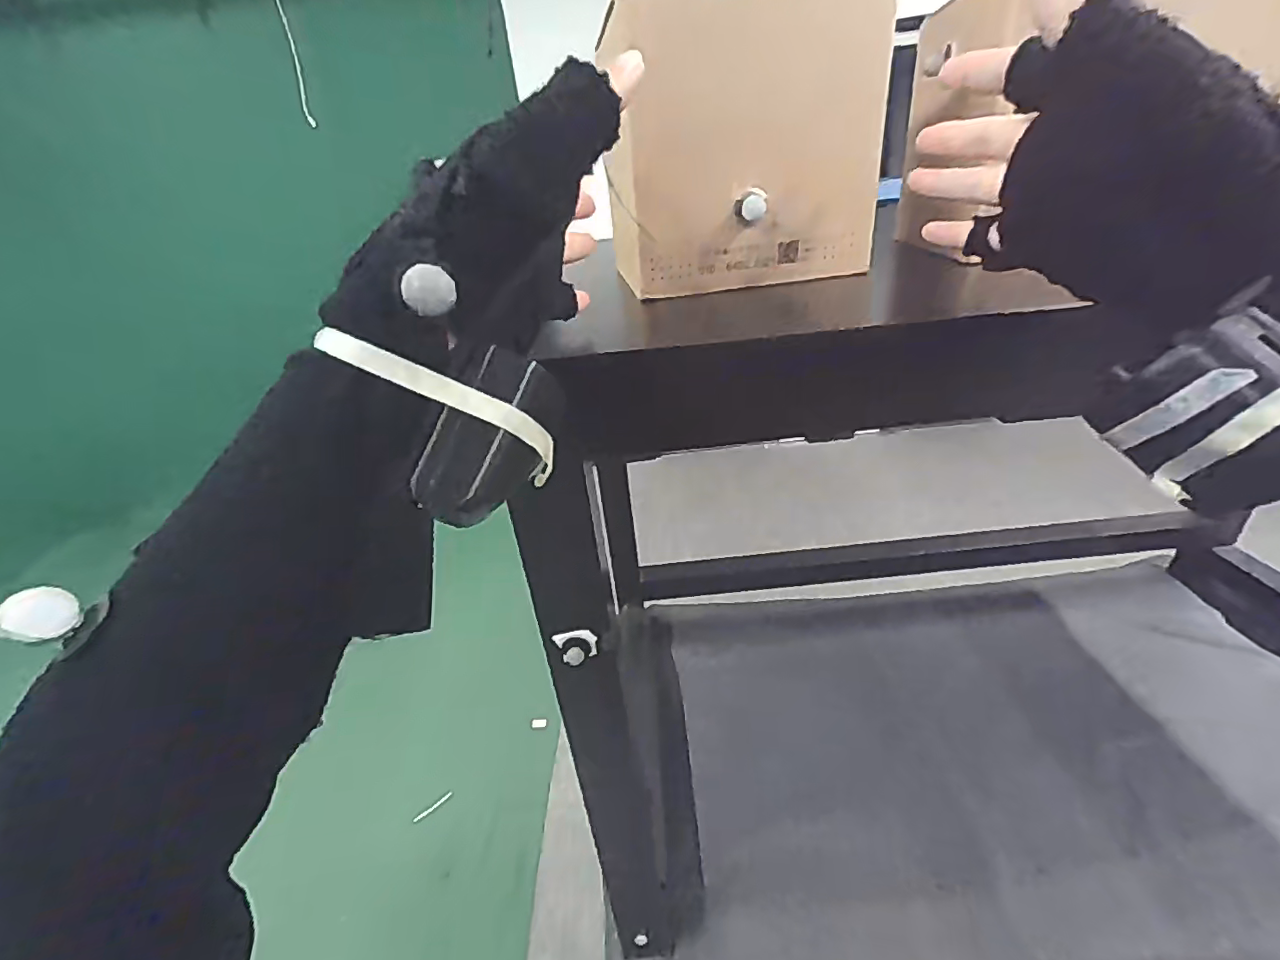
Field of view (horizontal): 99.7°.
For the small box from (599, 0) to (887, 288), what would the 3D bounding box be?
[{"bbox_3d":[0.062,-0.251,0.418,0.168,0.176,0.179,-9,29,-4],"label":"small box"}]
